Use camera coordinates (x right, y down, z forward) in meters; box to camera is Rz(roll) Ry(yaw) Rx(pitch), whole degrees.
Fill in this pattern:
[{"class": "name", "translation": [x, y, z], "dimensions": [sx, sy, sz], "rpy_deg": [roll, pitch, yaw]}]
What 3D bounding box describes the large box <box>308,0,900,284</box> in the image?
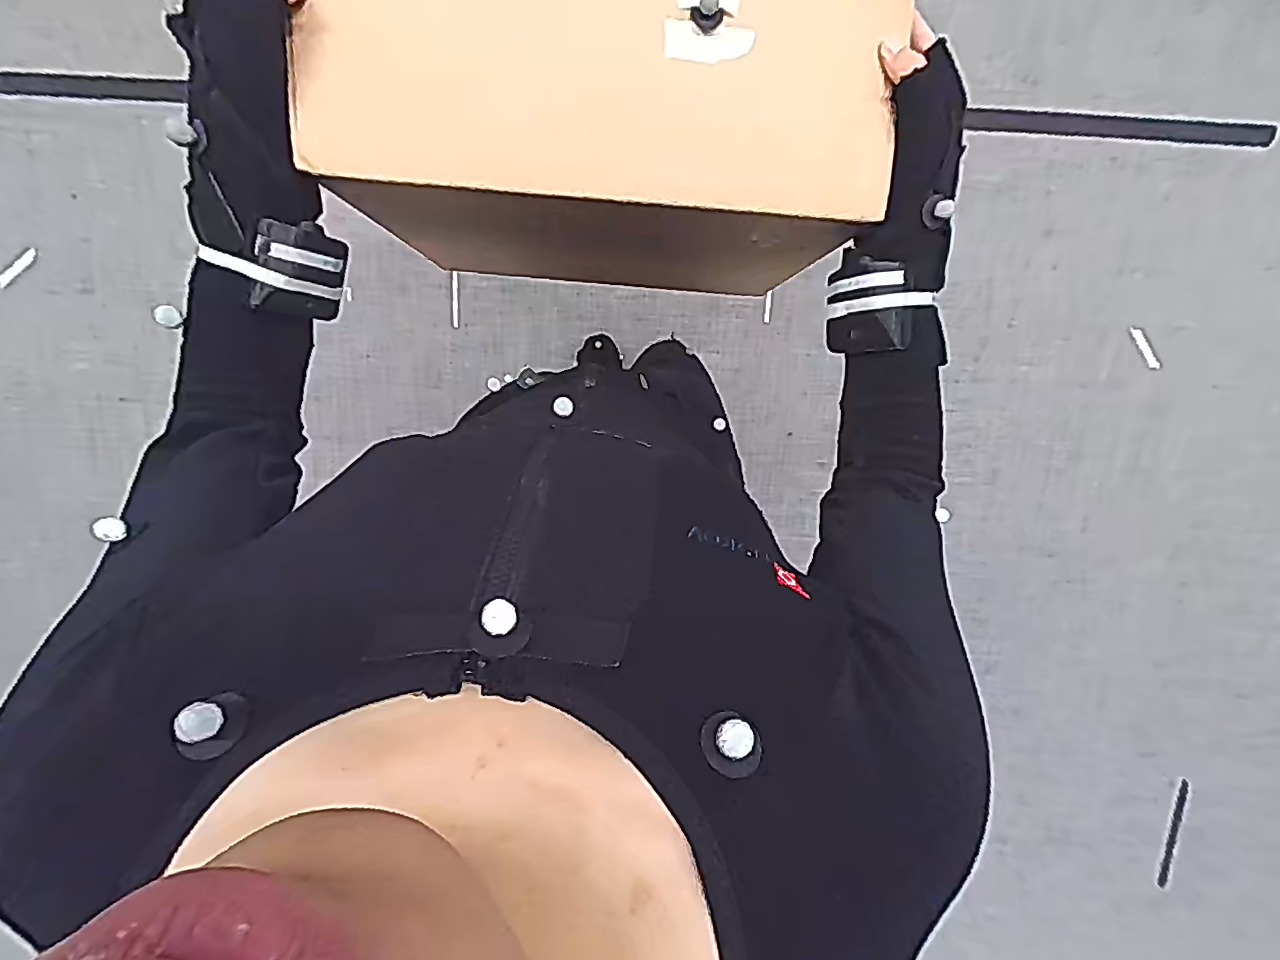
[{"class": "large box", "translation": [-0.026, -0.383, 0.504], "dimensions": [0.408, 0.320, 0.320], "rpy_deg": [3, 99, -4]}]
